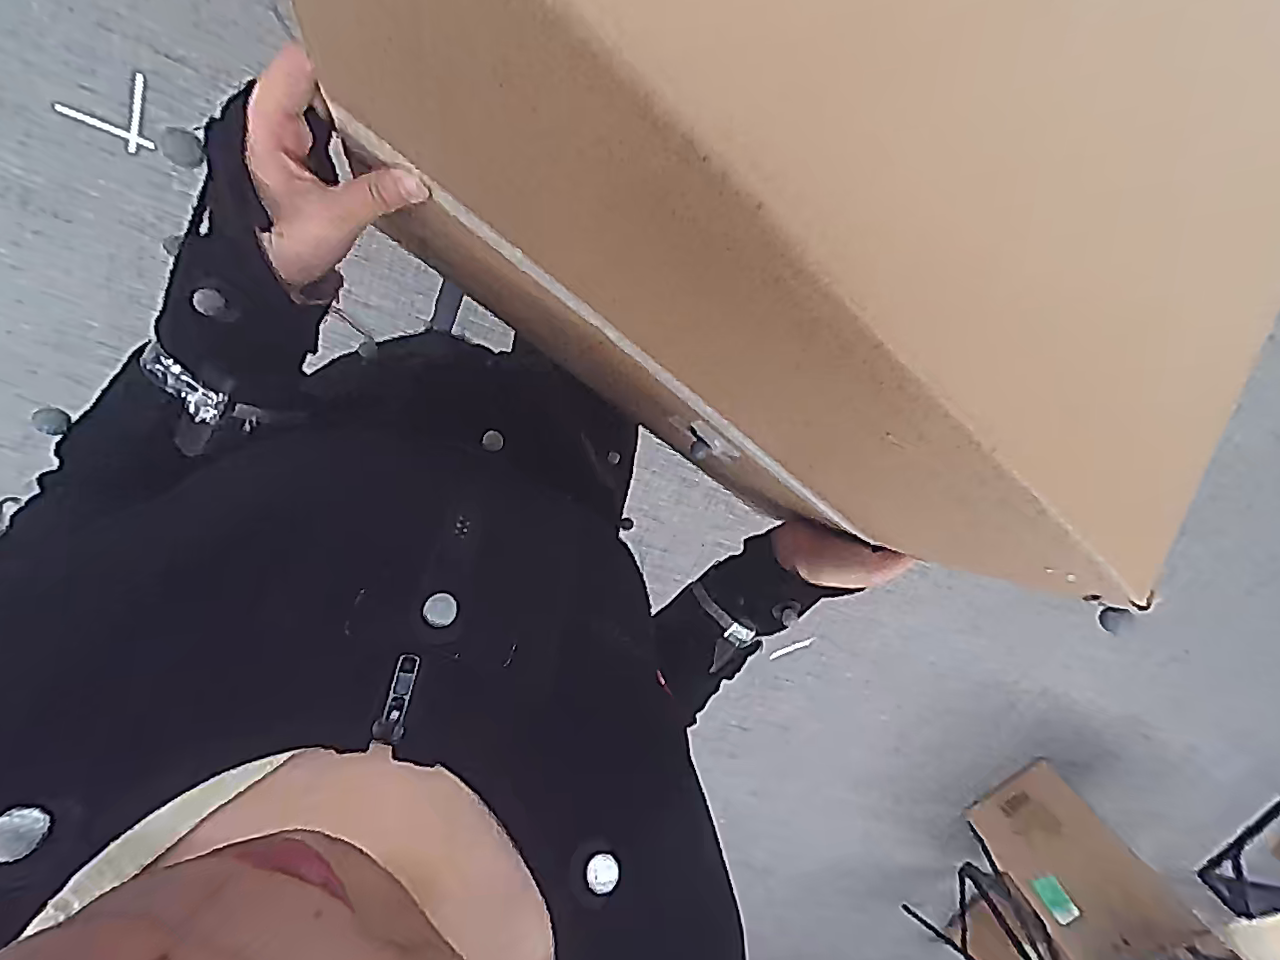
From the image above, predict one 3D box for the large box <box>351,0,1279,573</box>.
[{"bbox_3d":[0.115,-0.206,0.302,0.408,0.320,0.320,34,84,-20],"label":"large box"}]
